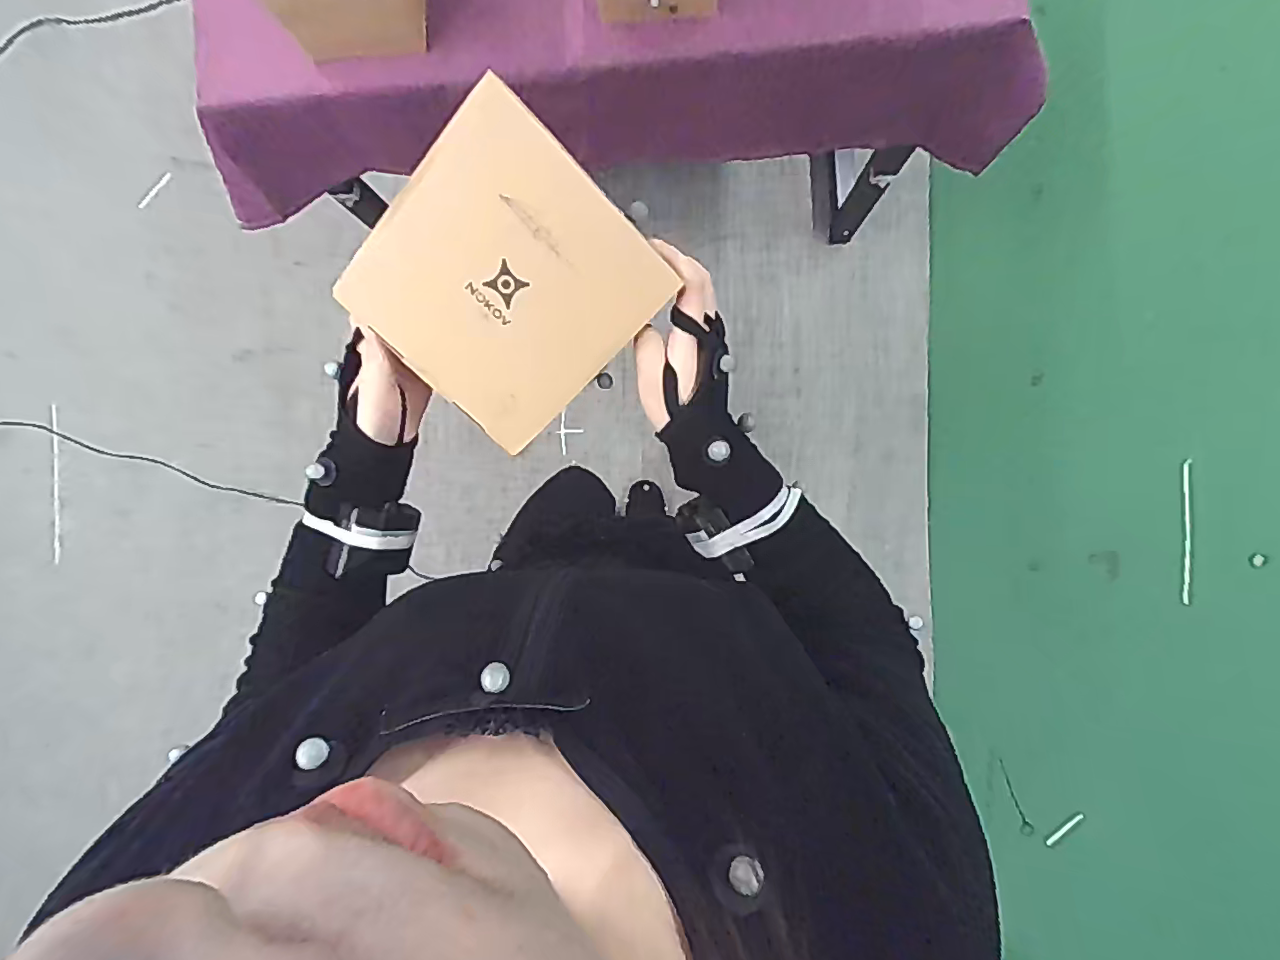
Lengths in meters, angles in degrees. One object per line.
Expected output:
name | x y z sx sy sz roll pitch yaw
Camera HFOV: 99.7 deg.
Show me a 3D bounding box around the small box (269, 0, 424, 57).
small box | -0.401 -0.707 0.717 0.179 0.176 0.168 -1 89 4
